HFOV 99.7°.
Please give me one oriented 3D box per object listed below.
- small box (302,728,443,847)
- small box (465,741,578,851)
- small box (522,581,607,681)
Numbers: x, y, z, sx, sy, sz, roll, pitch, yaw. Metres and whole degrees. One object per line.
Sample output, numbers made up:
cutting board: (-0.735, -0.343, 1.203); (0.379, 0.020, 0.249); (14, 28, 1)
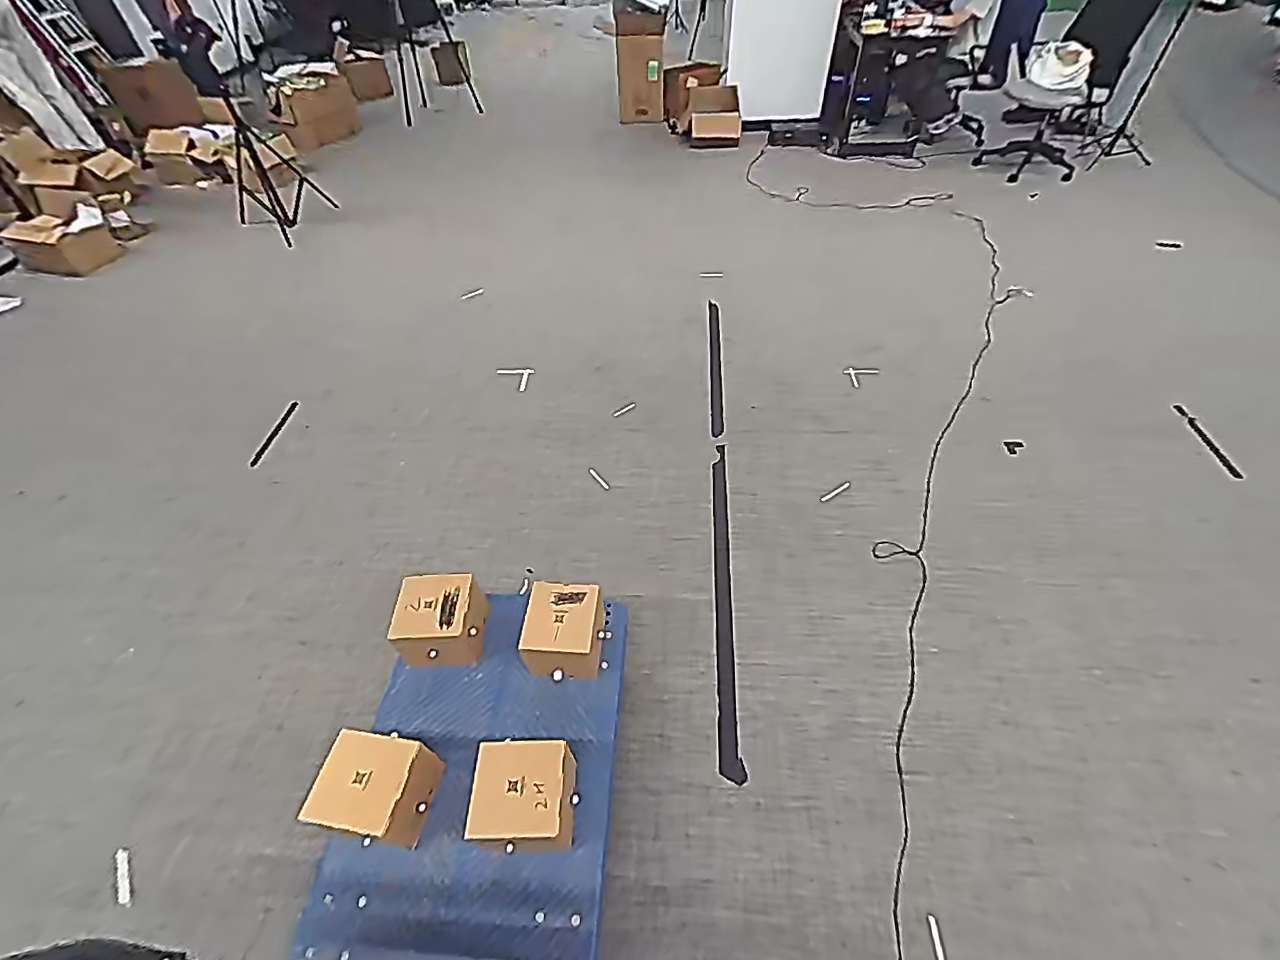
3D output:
small box: (-0.534, 0.633, 1.108); (0.179, 0.176, 0.168); (7, 48, 6)
small box: (-0.227, 0.637, 1.088); (0.179, 0.176, 0.168); (-1, 49, 2)
small box: (-0.176, 0.370, 1.322); (0.168, 0.176, 0.179); (3, 50, 5)
